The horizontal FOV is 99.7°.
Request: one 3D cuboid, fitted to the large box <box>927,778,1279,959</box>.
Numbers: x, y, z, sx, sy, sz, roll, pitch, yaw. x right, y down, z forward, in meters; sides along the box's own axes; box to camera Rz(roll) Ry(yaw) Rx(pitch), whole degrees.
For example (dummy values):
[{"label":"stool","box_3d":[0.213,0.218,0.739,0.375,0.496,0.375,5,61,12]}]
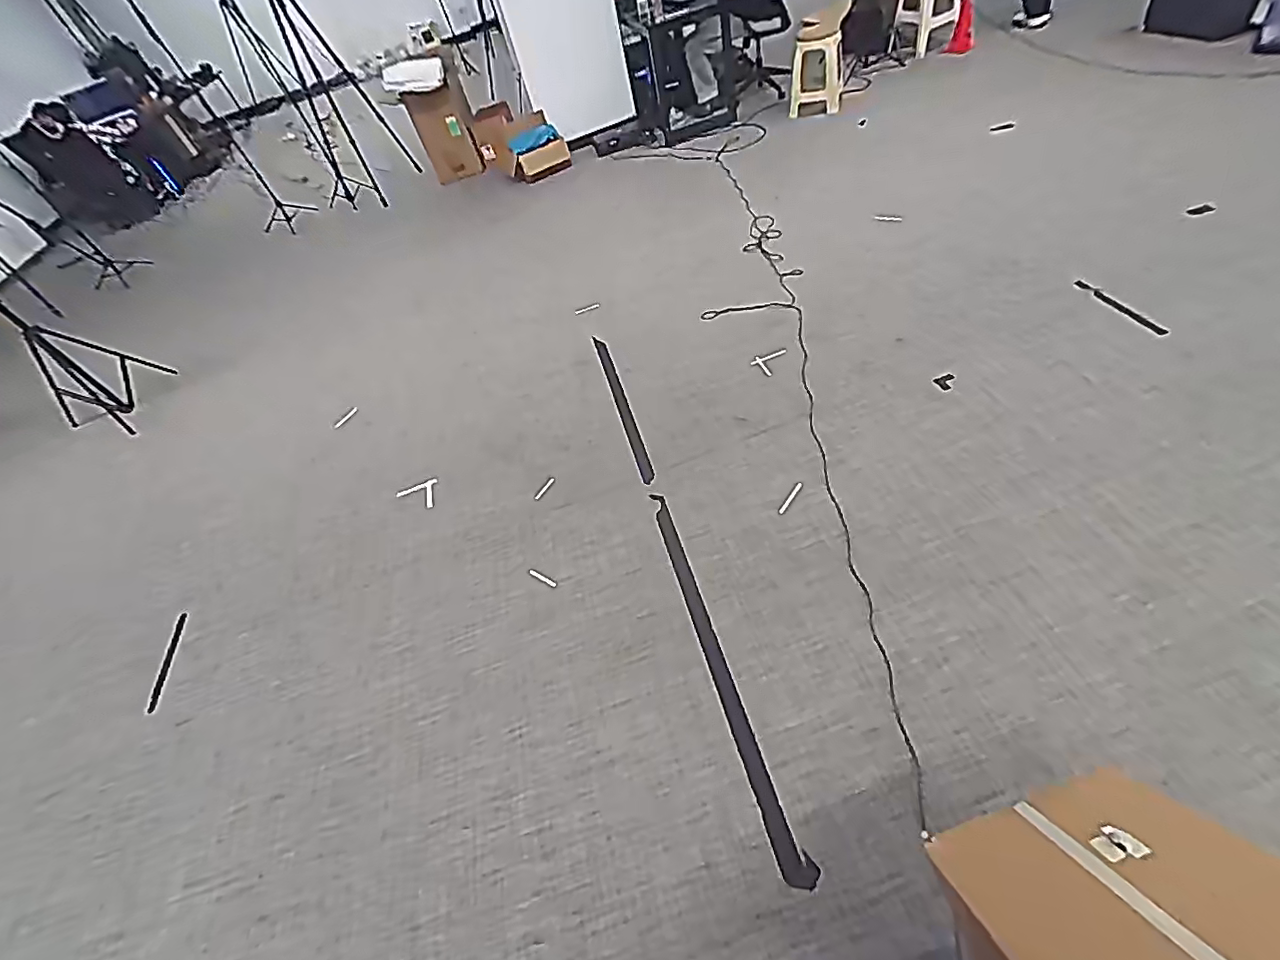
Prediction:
[{"label":"large box","box_3d":[0.622,0.626,0.606,0.320,0.408,0.320,-22,84,1]}]
